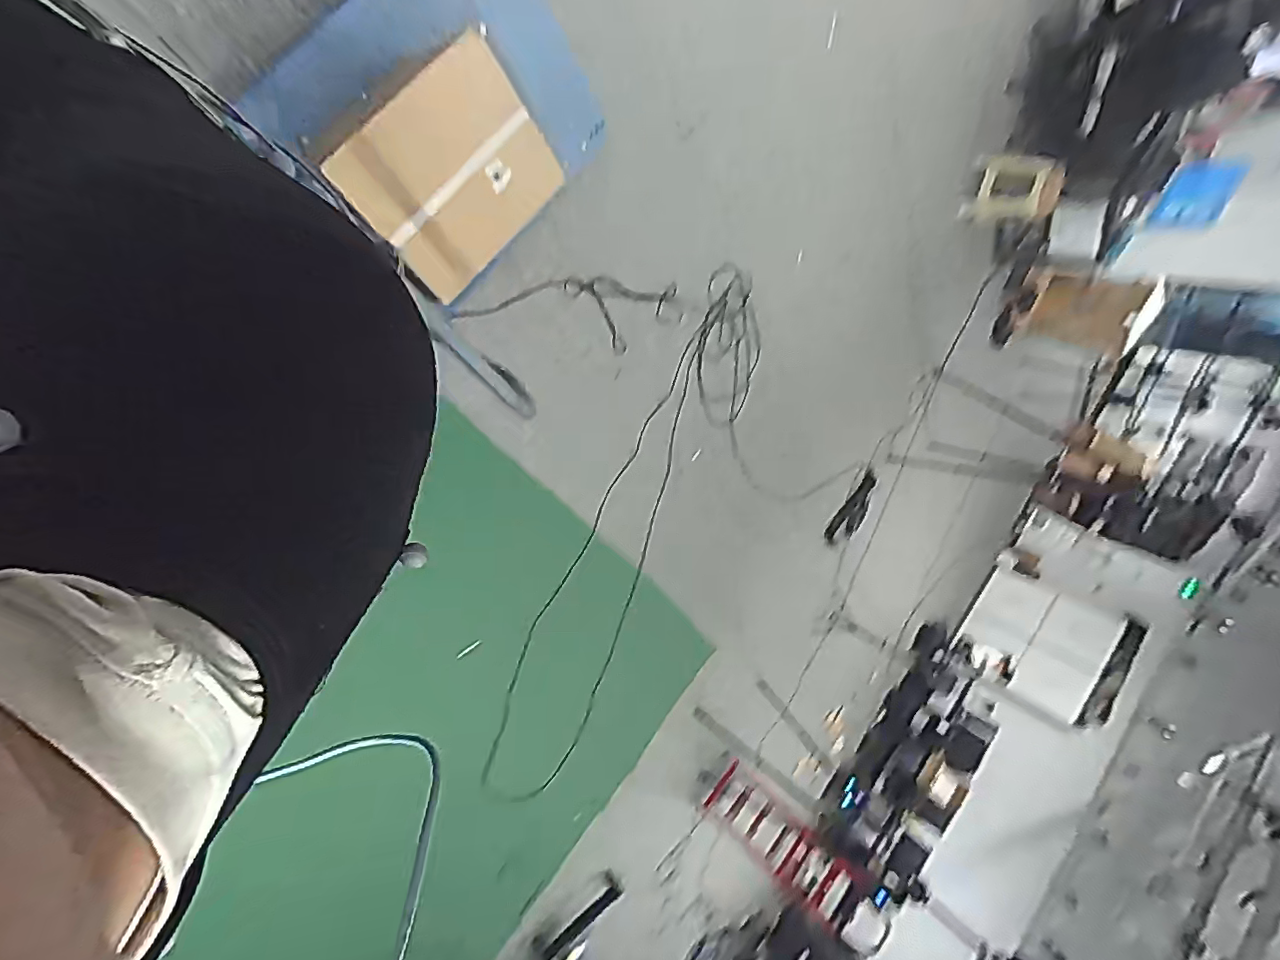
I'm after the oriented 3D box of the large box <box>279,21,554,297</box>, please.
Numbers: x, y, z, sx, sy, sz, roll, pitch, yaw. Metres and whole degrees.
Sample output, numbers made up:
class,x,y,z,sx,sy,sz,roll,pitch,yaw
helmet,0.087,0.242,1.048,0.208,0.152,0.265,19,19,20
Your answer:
class,x,y,z,sx,sy,sz,roll,pitch,yaw
large box,-0.474,-0.664,1.168,0.408,0.320,0.320,-53,138,-11
